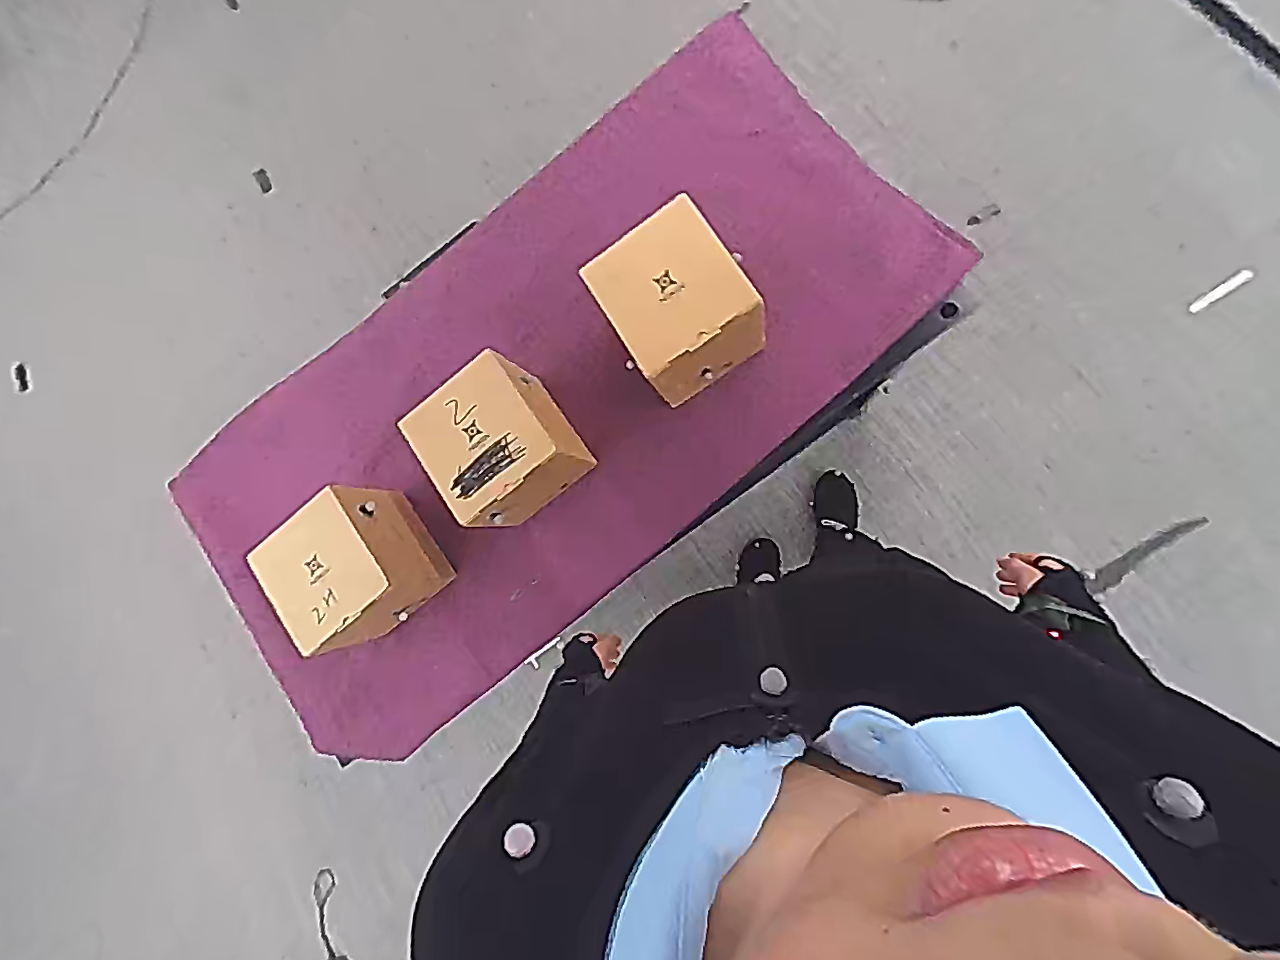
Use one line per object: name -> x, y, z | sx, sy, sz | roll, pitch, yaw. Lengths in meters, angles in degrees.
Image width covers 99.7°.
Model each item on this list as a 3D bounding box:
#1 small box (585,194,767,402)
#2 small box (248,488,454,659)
small box -> 0.055, -0.231, 0.734 | 0.168, 0.176, 0.179 | -34, 79, 8
small box -> -0.419, 0.134, 0.809 | 0.168, 0.176, 0.179 | -39, 79, 6
